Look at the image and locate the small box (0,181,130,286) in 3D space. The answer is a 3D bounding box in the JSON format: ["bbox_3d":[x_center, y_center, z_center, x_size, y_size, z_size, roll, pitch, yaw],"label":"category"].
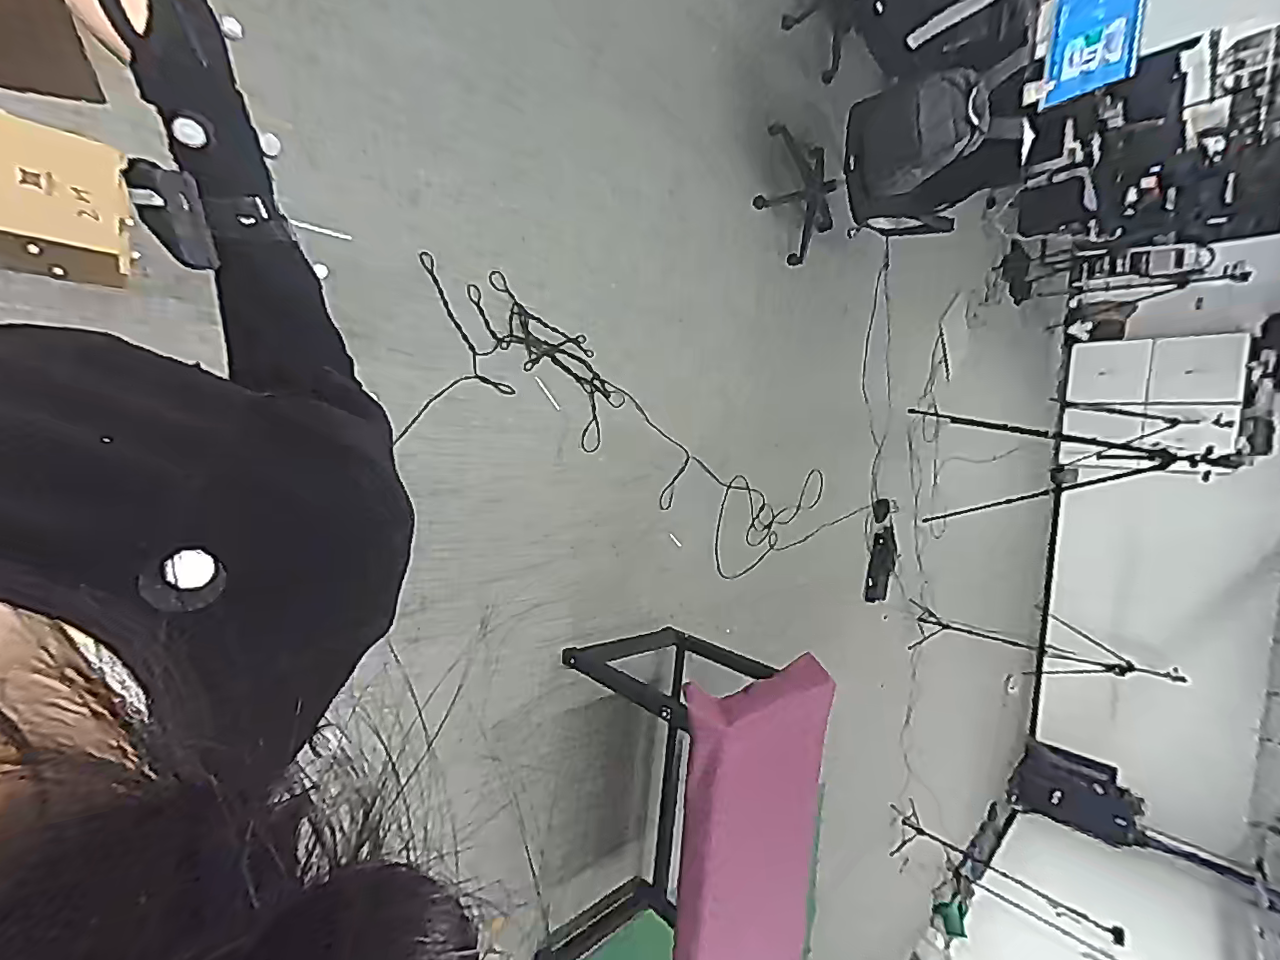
[{"bbox_3d":[-1.039,-0.460,0.971,0.179,0.176,0.168,0,95,-44],"label":"small box"}]

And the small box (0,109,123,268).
[{"bbox_3d":[-0.934,-0.446,0.845,0.179,0.176,0.168,1,95,-44],"label":"small box"}]
